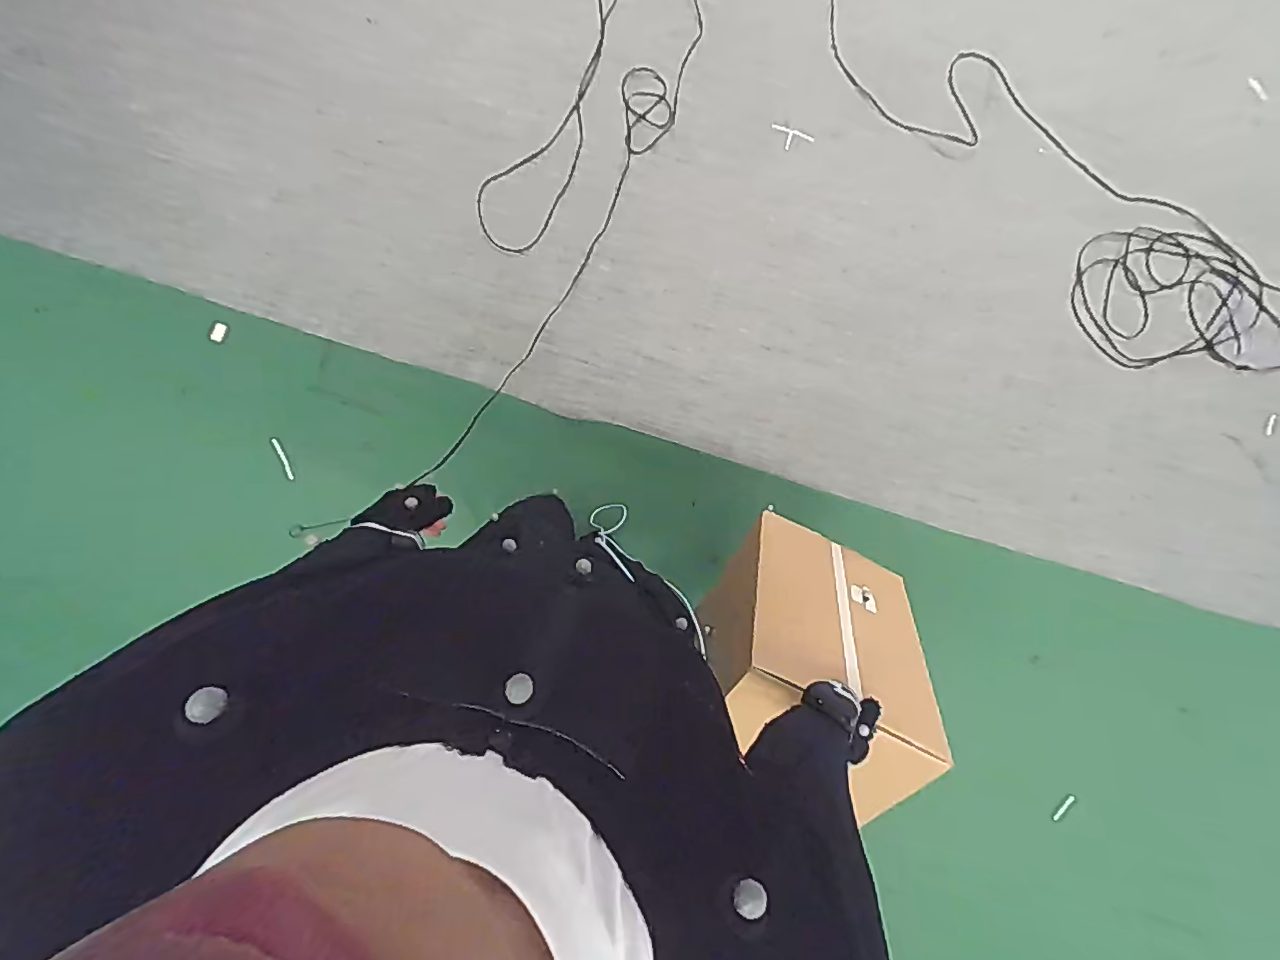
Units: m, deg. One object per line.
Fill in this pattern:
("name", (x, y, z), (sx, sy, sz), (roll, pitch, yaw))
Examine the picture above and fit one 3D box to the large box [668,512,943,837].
("large box", (0.276, 0.339, 0.997), (0.320, 0.408, 0.320), (28, 122, -1))
